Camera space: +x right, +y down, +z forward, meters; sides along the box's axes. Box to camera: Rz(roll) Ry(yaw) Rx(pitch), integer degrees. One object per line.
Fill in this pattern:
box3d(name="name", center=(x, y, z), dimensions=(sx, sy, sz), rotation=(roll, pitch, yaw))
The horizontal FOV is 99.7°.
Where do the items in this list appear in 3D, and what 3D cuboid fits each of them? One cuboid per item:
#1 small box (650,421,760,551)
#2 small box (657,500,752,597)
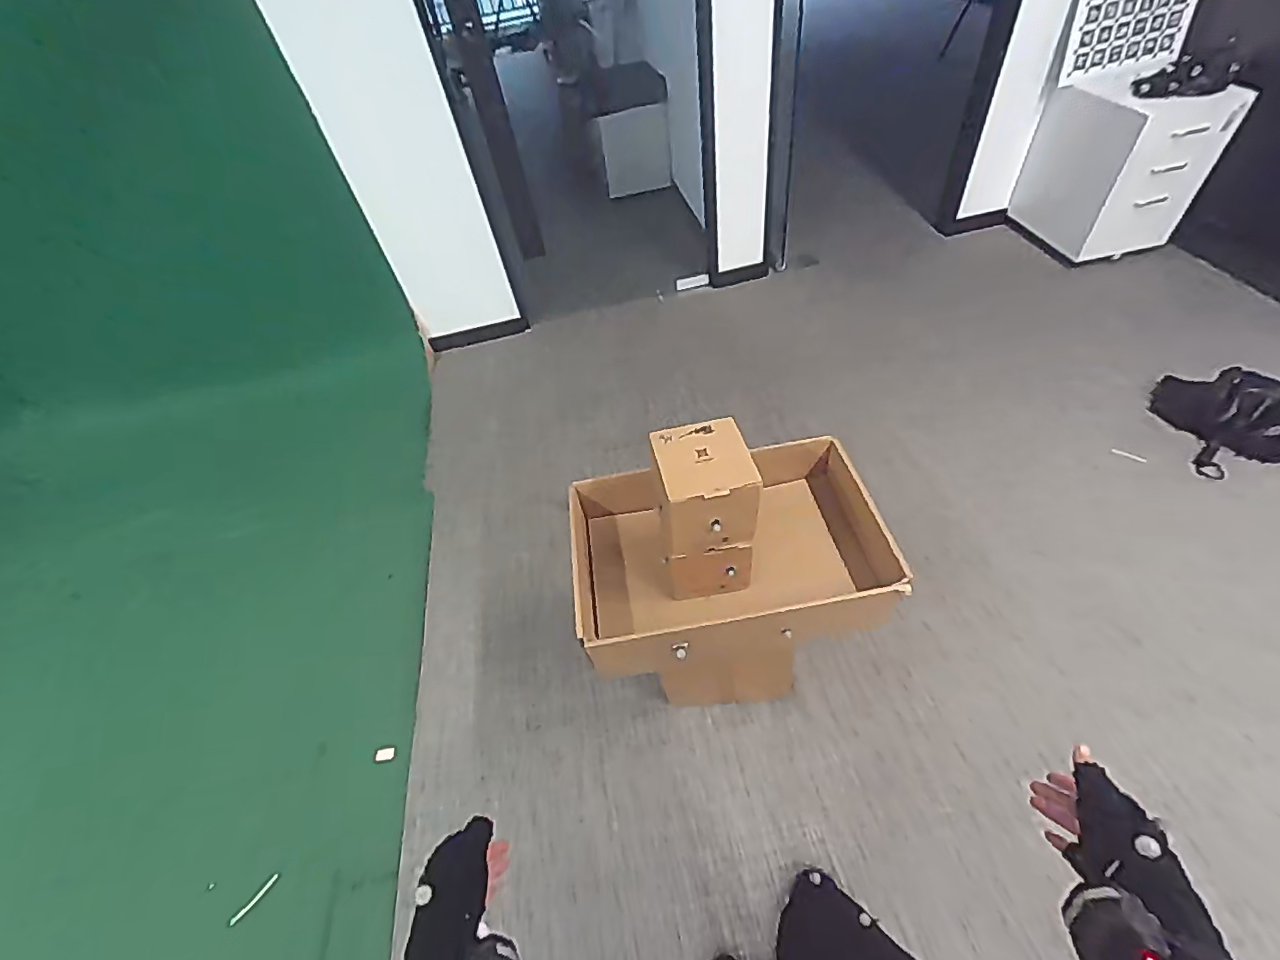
box3d(name="small box", center=(0.120, 0.018, 1.028), dimensions=(0.168, 0.176, 0.179), rotation=(-11, 49, -4))
box3d(name="small box", center=(0.133, 0.132, 1.145), dimensions=(0.168, 0.176, 0.179), rotation=(-9, 47, -2))
